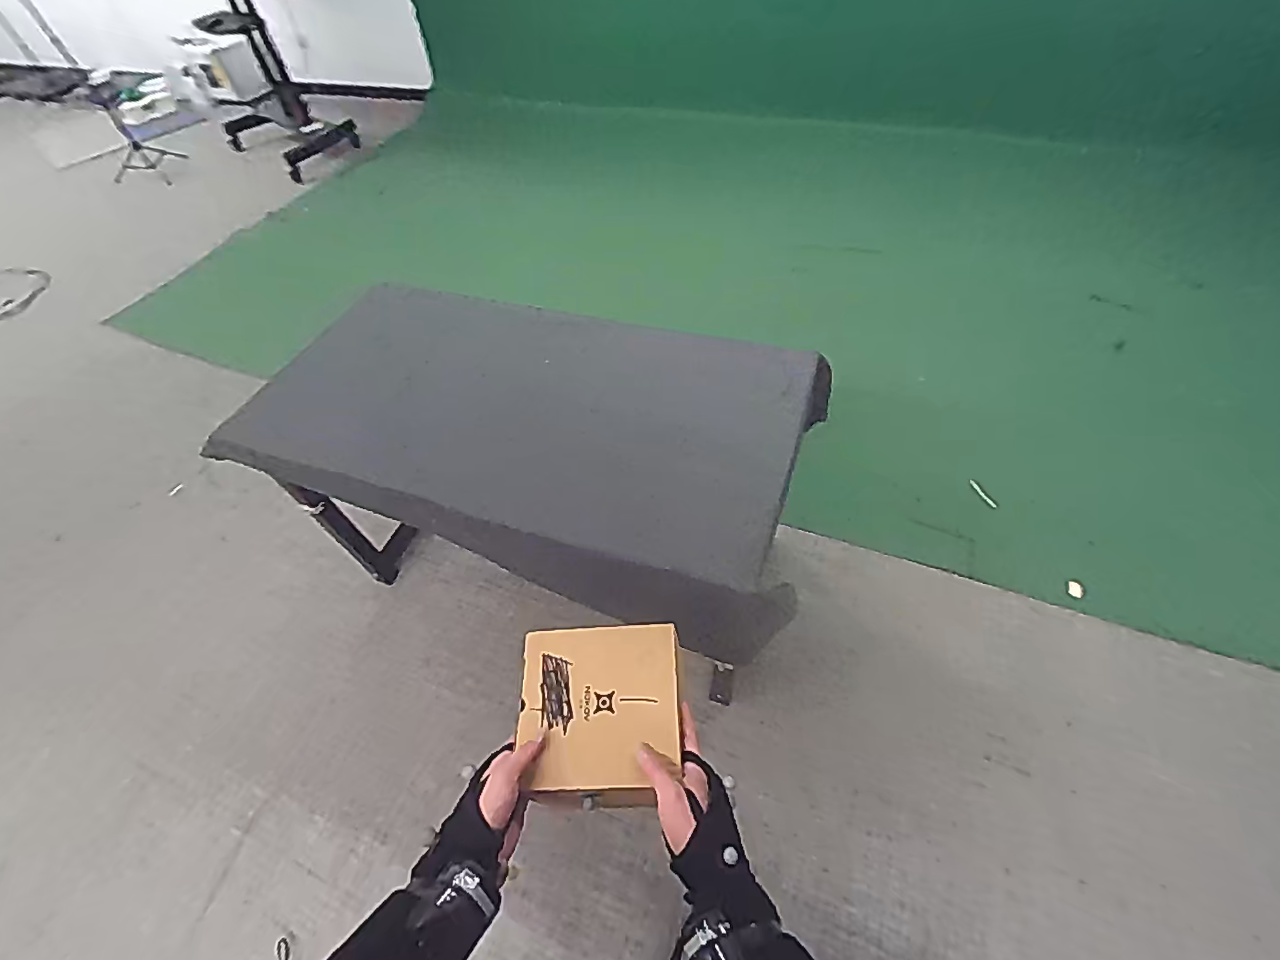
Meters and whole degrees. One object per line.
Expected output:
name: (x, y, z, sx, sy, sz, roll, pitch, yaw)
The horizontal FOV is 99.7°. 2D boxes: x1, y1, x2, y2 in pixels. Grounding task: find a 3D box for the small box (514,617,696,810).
small box: (-0.030, 0.273, 0.622, 0.179, 0.176, 0.168, -5, 53, 2)
